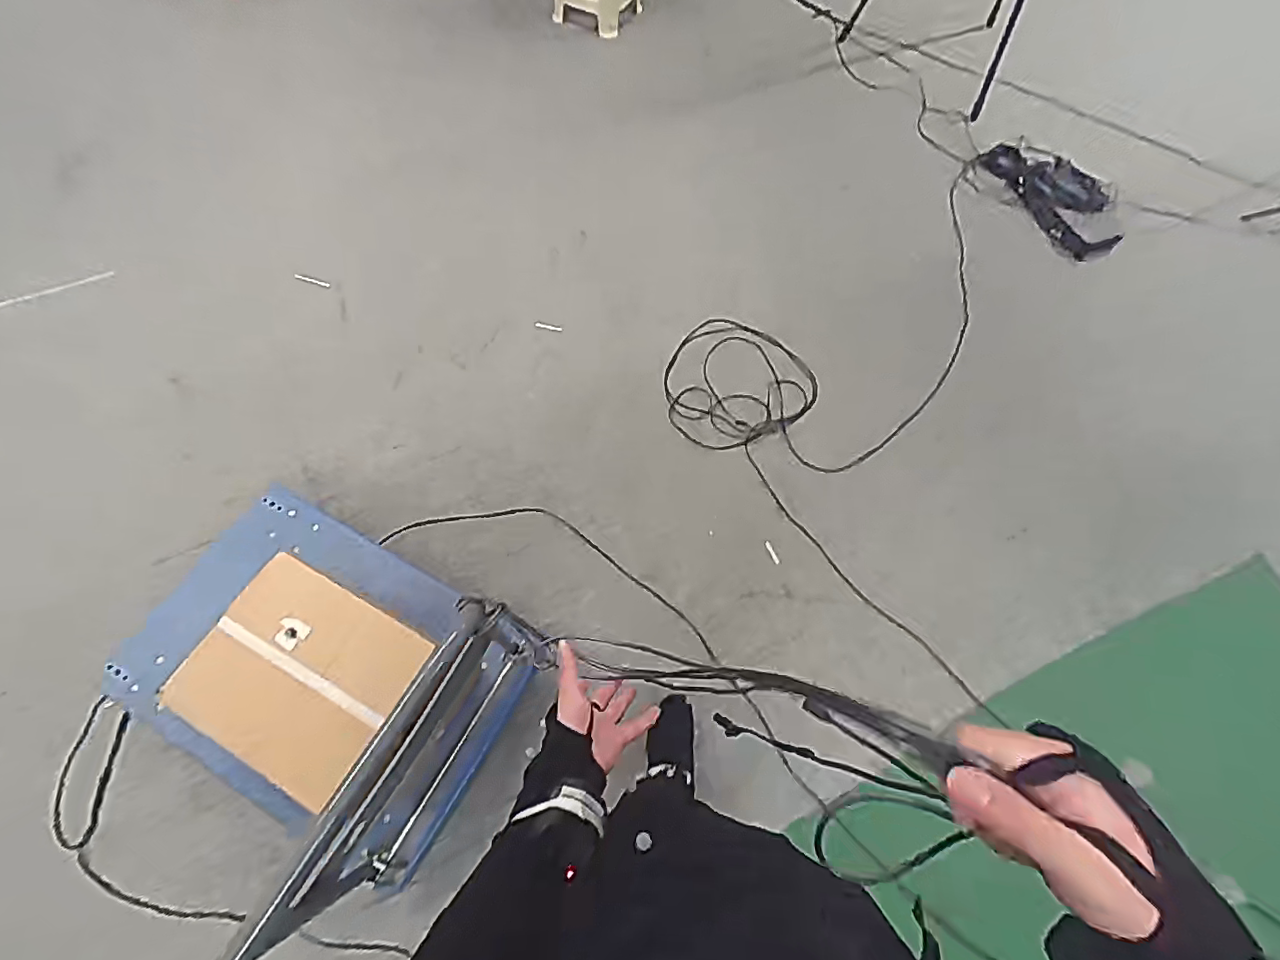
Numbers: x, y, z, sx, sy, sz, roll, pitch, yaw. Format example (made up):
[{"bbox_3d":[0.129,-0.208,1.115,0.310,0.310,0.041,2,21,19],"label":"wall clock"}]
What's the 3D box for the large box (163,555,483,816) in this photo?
[{"bbox_3d":[-0.604,0.413,1.114,0.408,0.320,0.320,26,67,11],"label":"large box"}]
